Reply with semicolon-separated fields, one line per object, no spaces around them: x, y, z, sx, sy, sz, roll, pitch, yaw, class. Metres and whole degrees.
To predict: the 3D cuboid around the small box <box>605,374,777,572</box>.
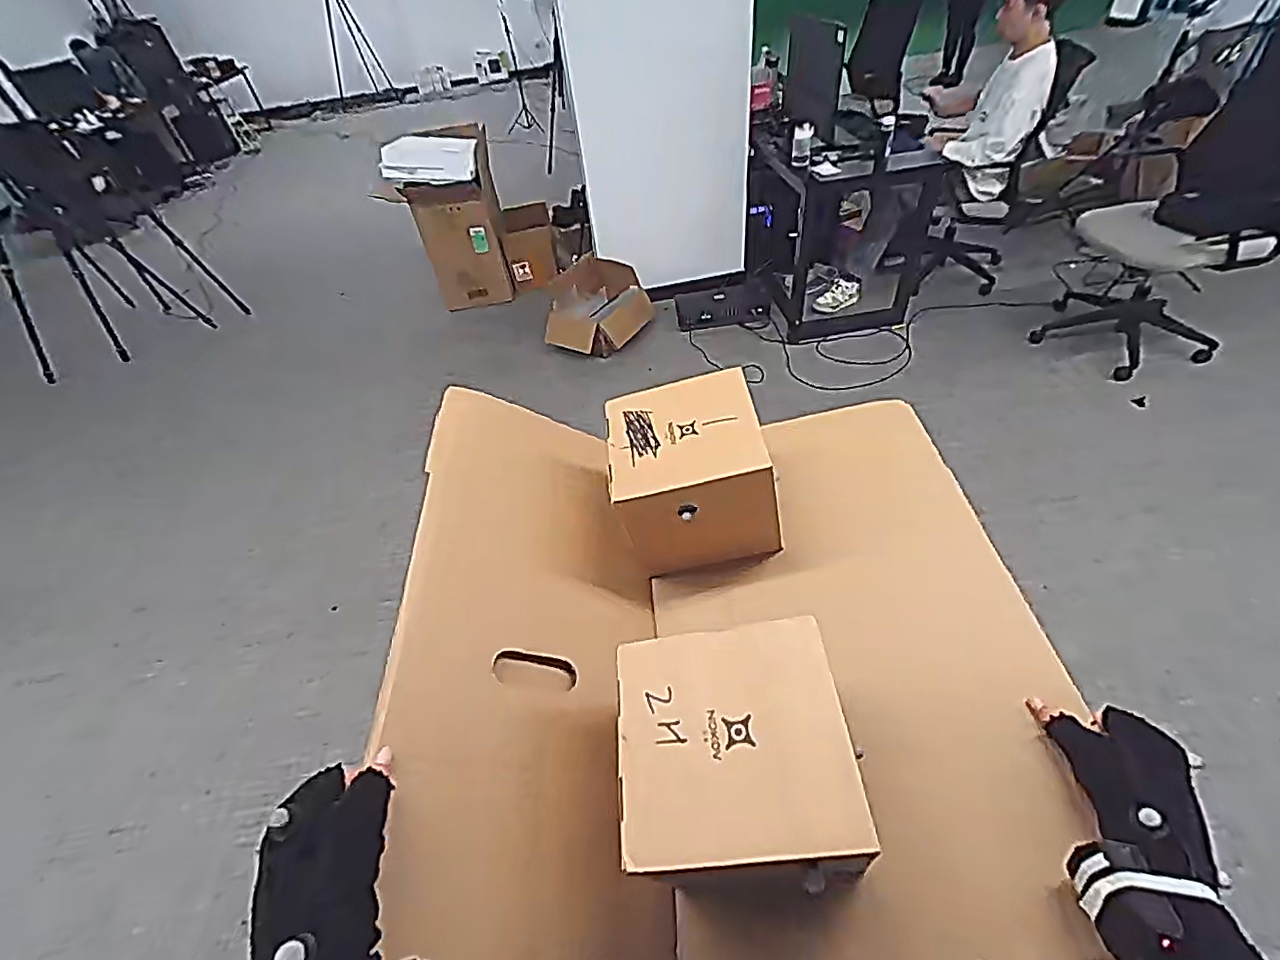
0.065;-0.002;0.688;0.179;0.176;0.168;-13;49;8;small box
